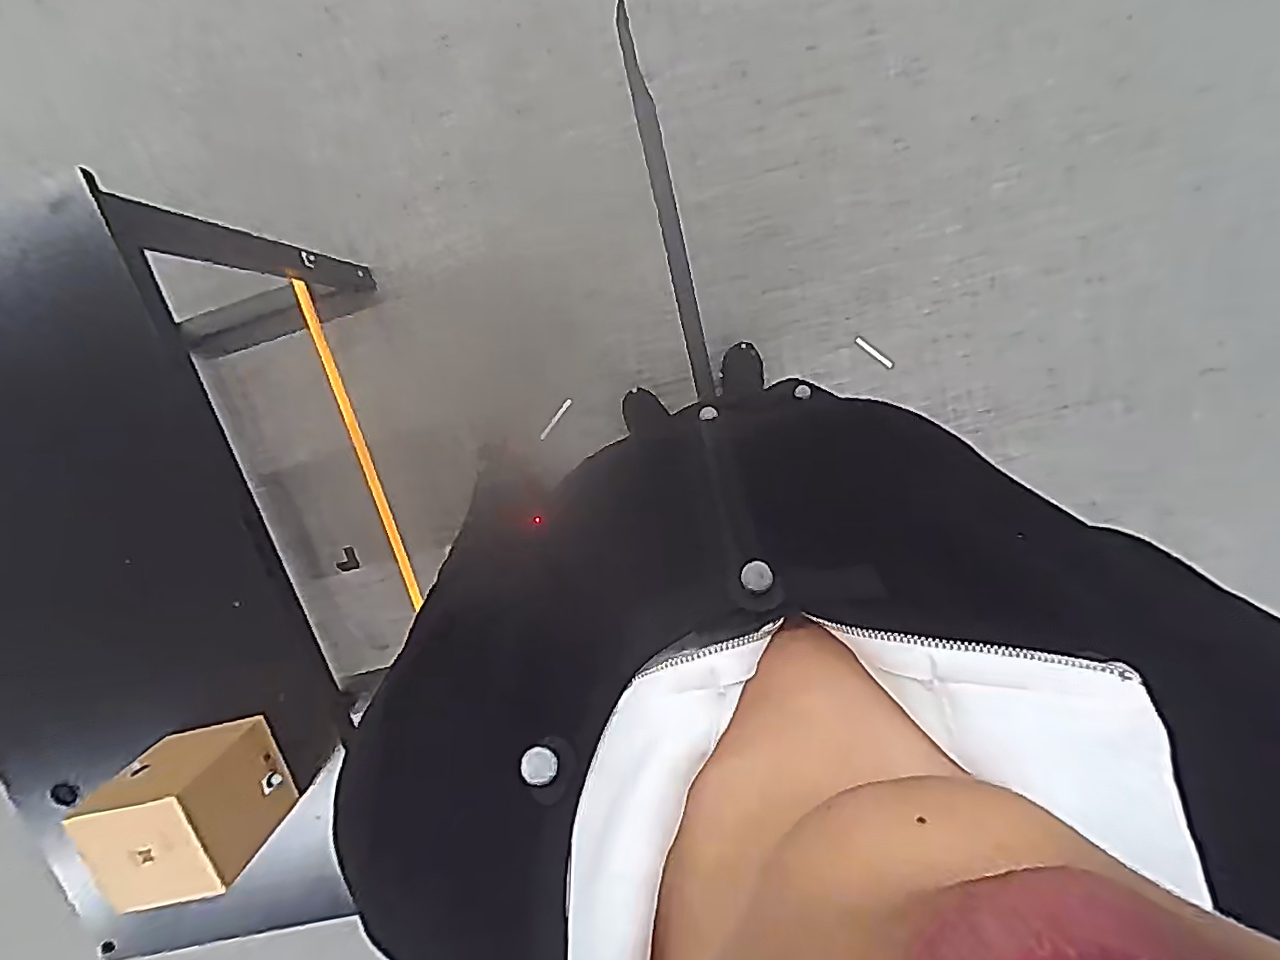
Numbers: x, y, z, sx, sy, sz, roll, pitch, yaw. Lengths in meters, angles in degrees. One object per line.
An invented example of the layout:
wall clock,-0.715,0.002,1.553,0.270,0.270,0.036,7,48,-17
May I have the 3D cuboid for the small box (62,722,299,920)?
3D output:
small box,-0.663,0.494,0.804,0.179,0.176,0.168,-15,103,5
